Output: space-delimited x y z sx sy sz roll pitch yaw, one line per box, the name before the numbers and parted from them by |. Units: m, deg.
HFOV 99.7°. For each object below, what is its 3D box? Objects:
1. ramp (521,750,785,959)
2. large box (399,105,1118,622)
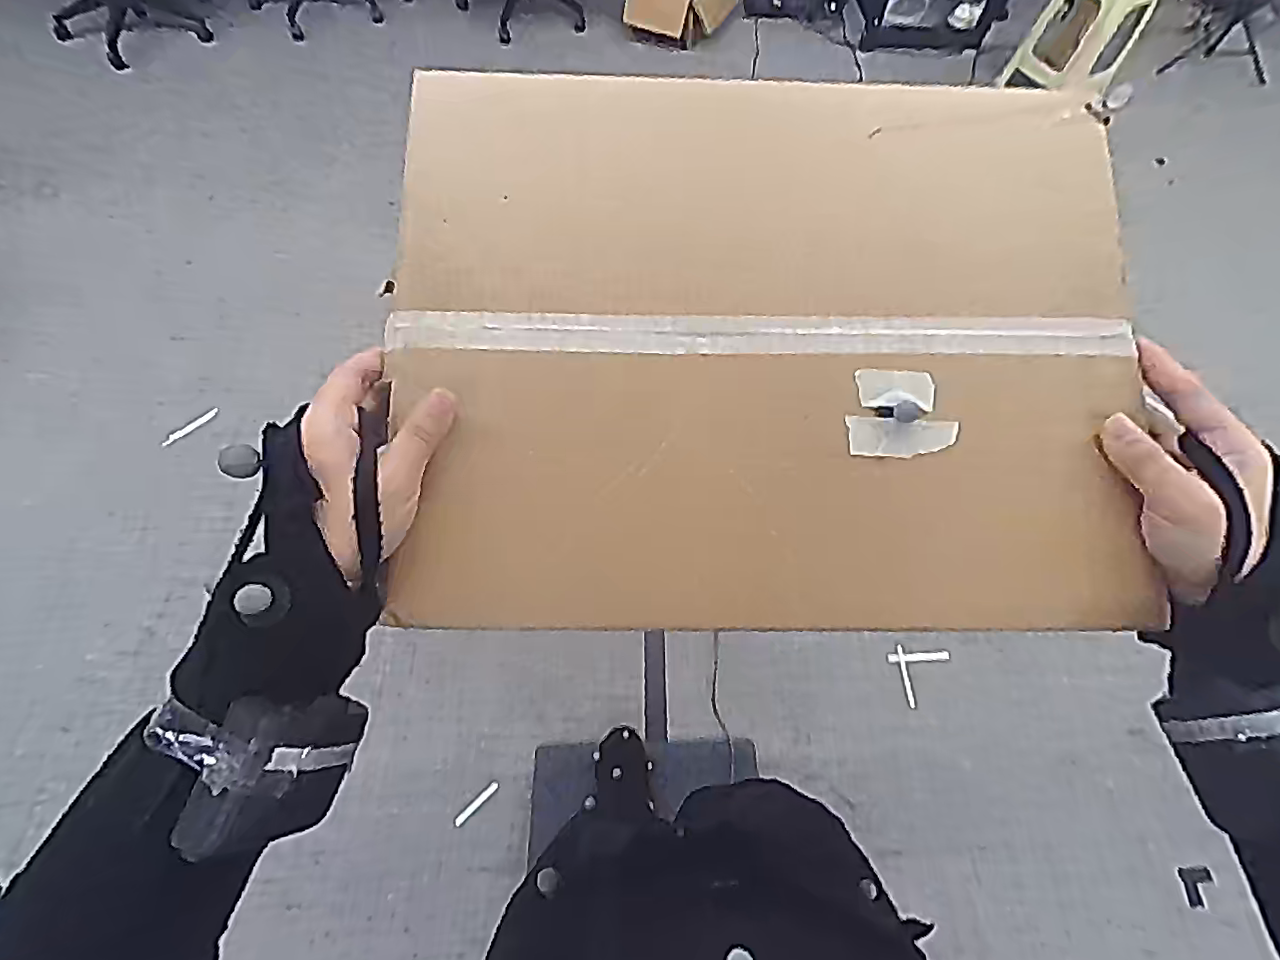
ramp | 0.027 1.004 0.906 0.509 0.206 0.991 -2 62 -1
large box | 0.061 -0.058 0.461 0.408 0.320 0.320 0 82 -2
